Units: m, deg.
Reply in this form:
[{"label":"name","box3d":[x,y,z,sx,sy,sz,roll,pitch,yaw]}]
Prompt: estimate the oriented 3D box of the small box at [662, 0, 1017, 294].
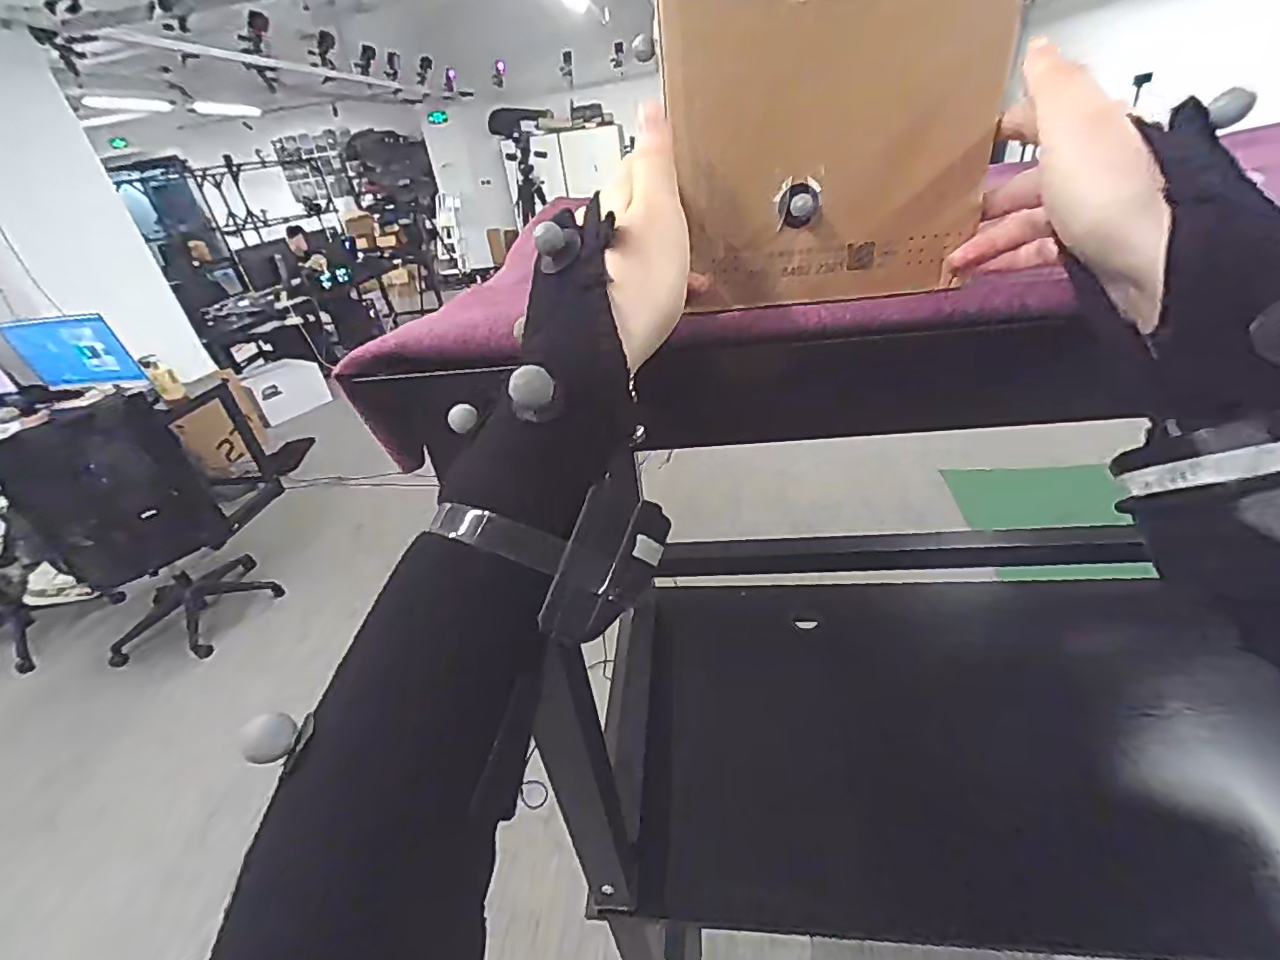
[{"label":"small box","box3d":[0.100,-0.225,0.347,0.168,0.176,0.179,-4,31,5]}]
